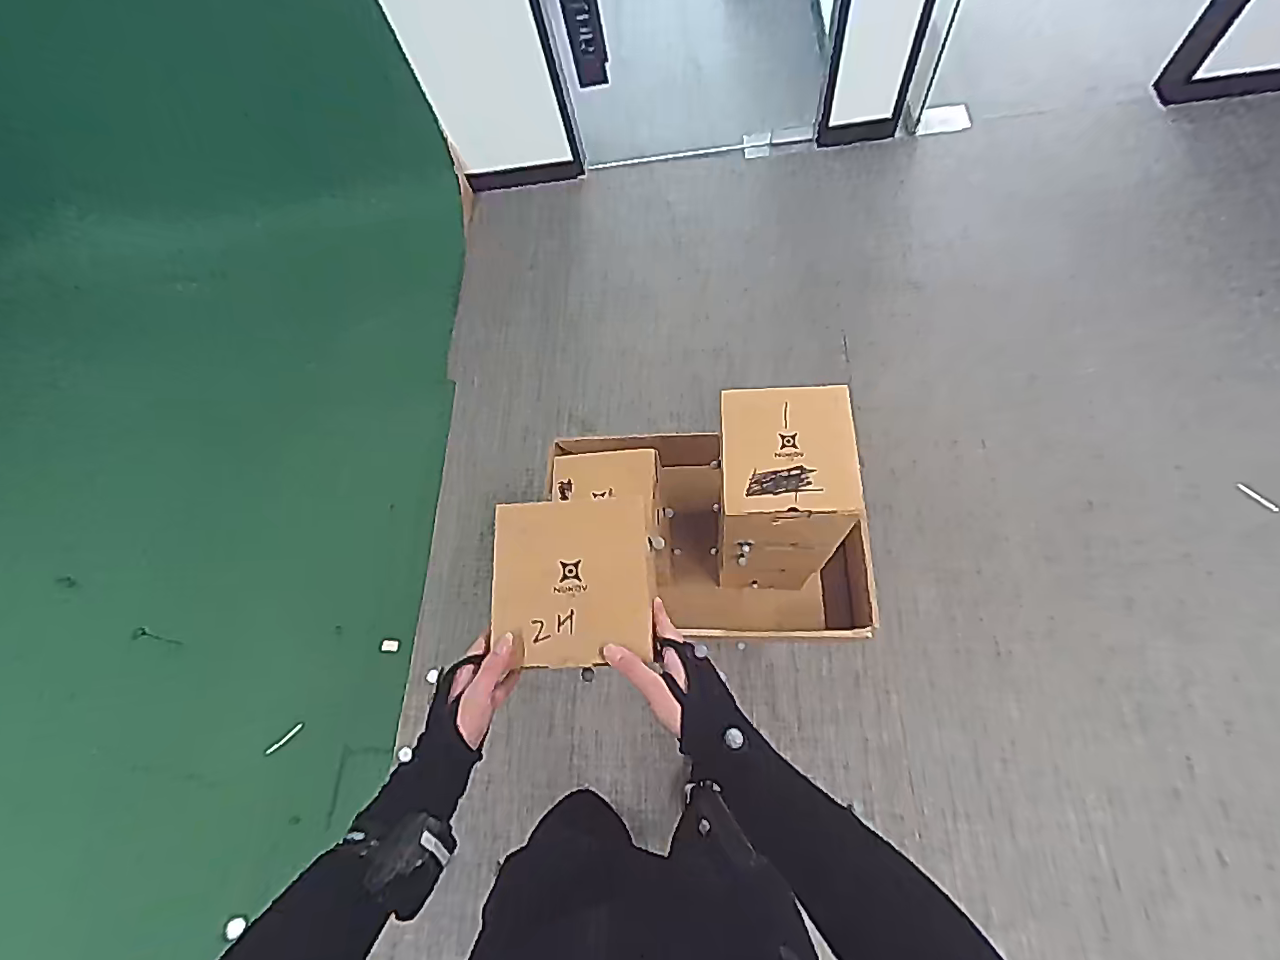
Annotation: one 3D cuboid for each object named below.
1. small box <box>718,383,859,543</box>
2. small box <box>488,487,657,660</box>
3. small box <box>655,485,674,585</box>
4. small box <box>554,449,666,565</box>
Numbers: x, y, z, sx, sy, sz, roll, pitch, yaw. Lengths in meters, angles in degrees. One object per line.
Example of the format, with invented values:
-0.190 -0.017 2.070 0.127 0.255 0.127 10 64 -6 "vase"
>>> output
0.194 -0.014 0.750 0.168 0.176 0.179 -1 68 8 "small box"
-0.068 0.118 0.641 0.168 0.176 0.179 -4 72 4 "small box"
-0.024 0.116 1.087 0.179 0.176 0.168 -1 68 6 "small box"
-0.045 0.057 0.936 0.179 0.176 0.168 -3 68 6 "small box"
